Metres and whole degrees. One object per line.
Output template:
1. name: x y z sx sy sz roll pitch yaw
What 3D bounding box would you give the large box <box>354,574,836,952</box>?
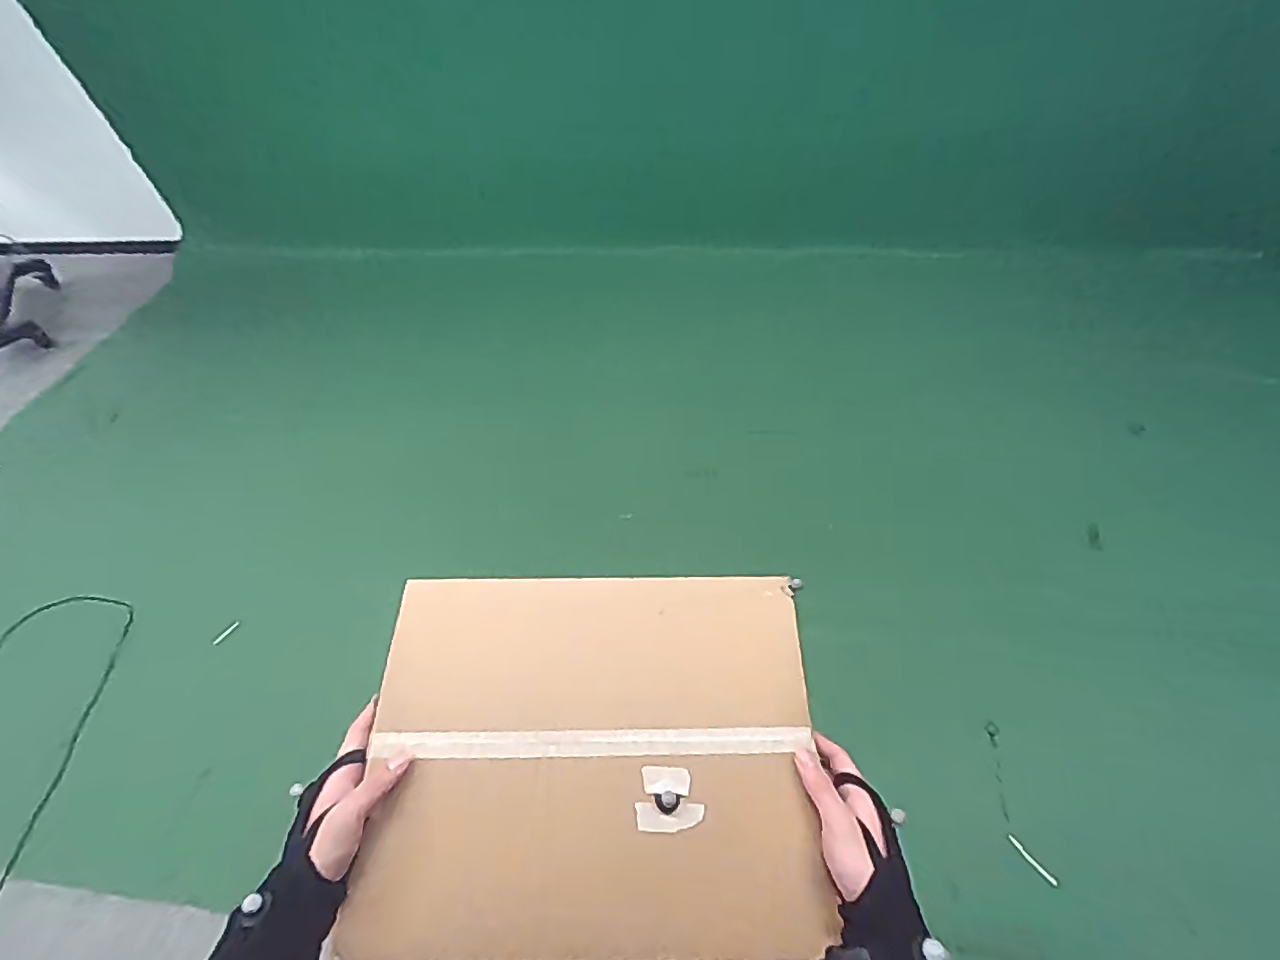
1. large box: -0.042 0.313 0.641 0.408 0.320 0.320 0 61 -1
